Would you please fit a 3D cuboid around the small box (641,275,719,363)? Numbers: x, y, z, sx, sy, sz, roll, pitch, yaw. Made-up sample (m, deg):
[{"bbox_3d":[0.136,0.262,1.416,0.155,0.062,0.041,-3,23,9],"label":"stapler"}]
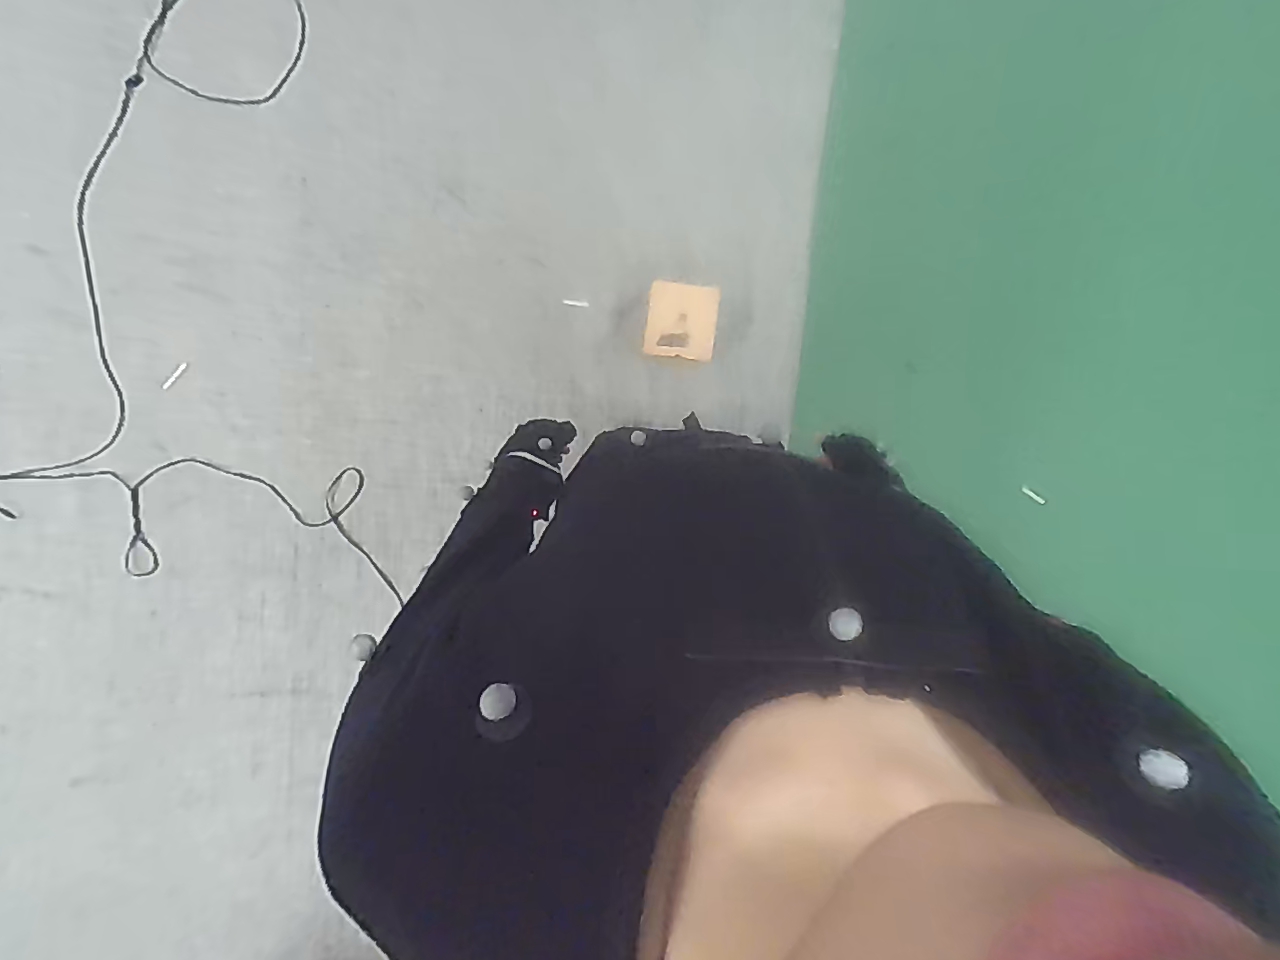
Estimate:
[{"bbox_3d":[0.096,-0.394,1.355,0.168,0.176,0.179,7,96,-2],"label":"small box"}]
